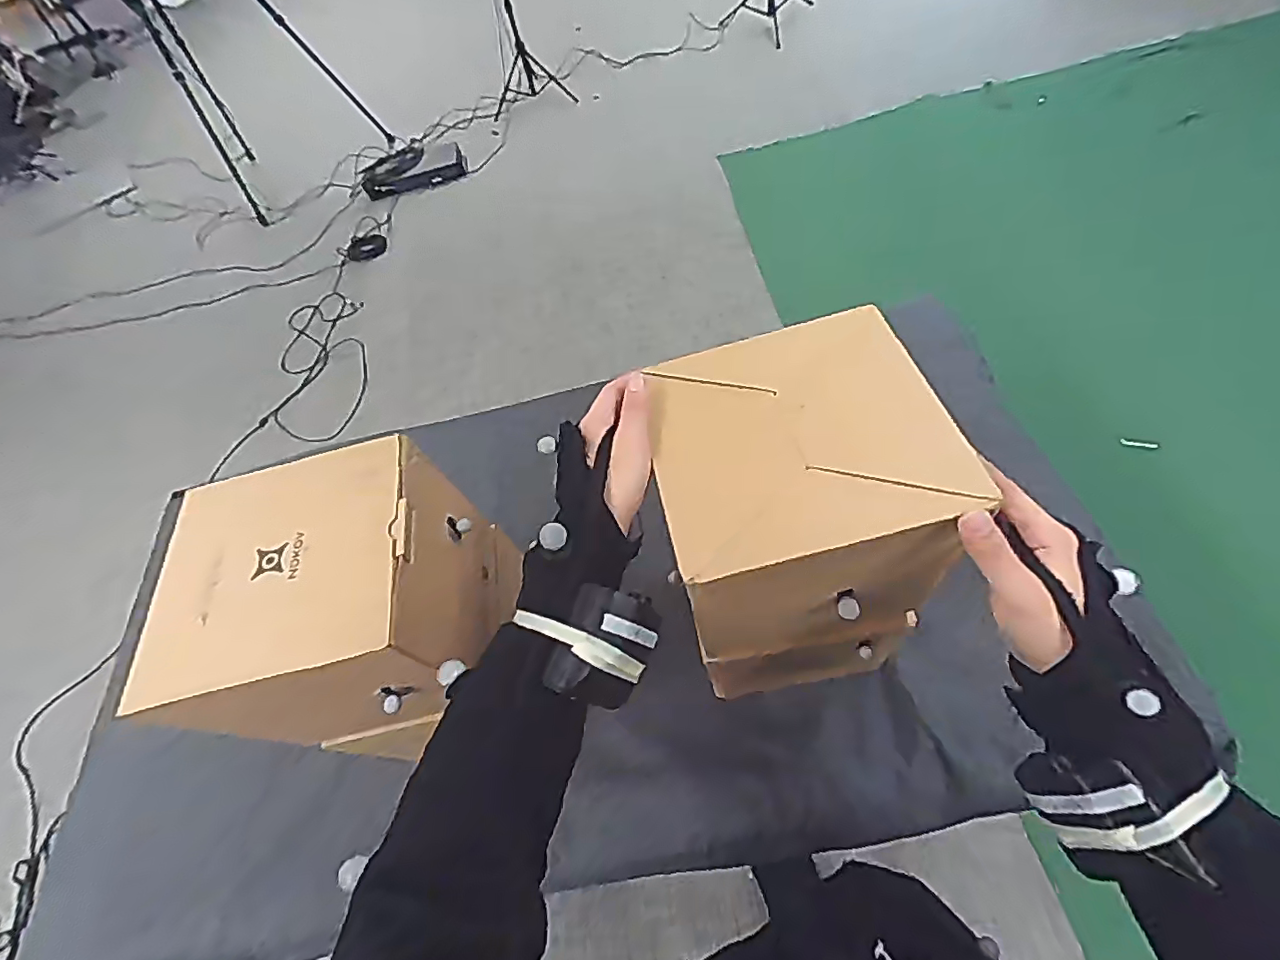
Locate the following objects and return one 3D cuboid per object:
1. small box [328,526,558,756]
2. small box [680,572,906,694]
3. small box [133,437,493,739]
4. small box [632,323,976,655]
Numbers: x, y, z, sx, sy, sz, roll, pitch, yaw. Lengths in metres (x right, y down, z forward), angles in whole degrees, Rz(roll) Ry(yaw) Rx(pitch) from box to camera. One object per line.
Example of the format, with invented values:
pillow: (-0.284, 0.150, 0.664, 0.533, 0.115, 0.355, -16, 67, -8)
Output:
small box: (-0.194, 0.176, 0.573, 0.168, 0.176, 0.179, -14, 58, 3)
small box: (0.136, 0.107, 0.551, 0.179, 0.176, 0.168, -12, 57, 3)
small box: (-0.228, 0.096, 0.436, 0.179, 0.176, 0.168, -15, 56, 3)
small box: (0.106, 0.011, 0.402, 0.179, 0.176, 0.168, -15, 57, 2)
